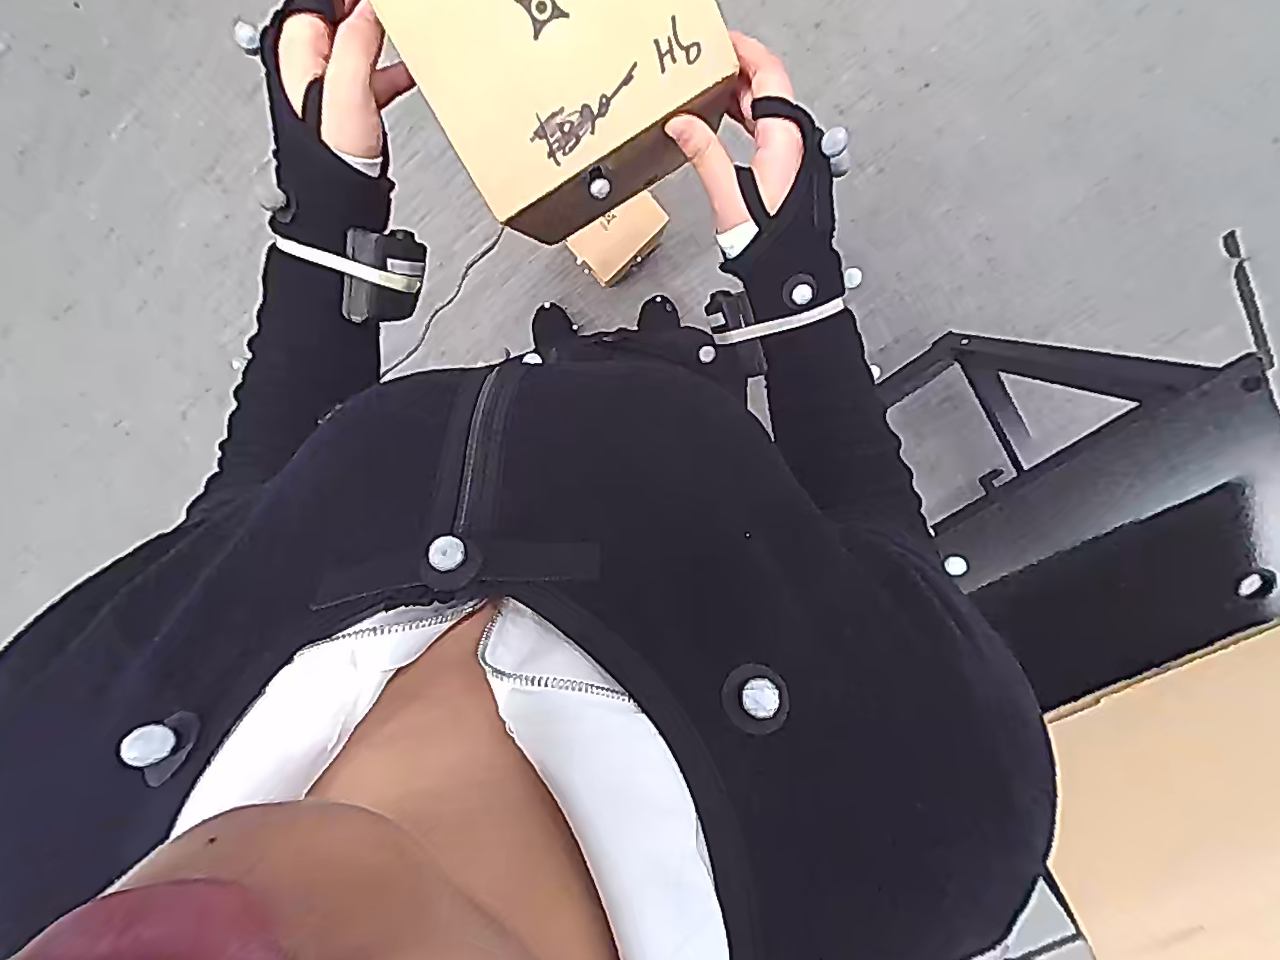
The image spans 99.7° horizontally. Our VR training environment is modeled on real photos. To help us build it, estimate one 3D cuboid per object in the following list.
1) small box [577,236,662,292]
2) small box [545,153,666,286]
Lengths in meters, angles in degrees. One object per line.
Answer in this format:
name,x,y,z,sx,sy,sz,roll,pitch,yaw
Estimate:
small box,-0.069,-0.560,1.256,0.179,0.176,0.168,-38,104,13
small box,-0.064,-0.514,1.100,0.179,0.176,0.168,-42,105,11
